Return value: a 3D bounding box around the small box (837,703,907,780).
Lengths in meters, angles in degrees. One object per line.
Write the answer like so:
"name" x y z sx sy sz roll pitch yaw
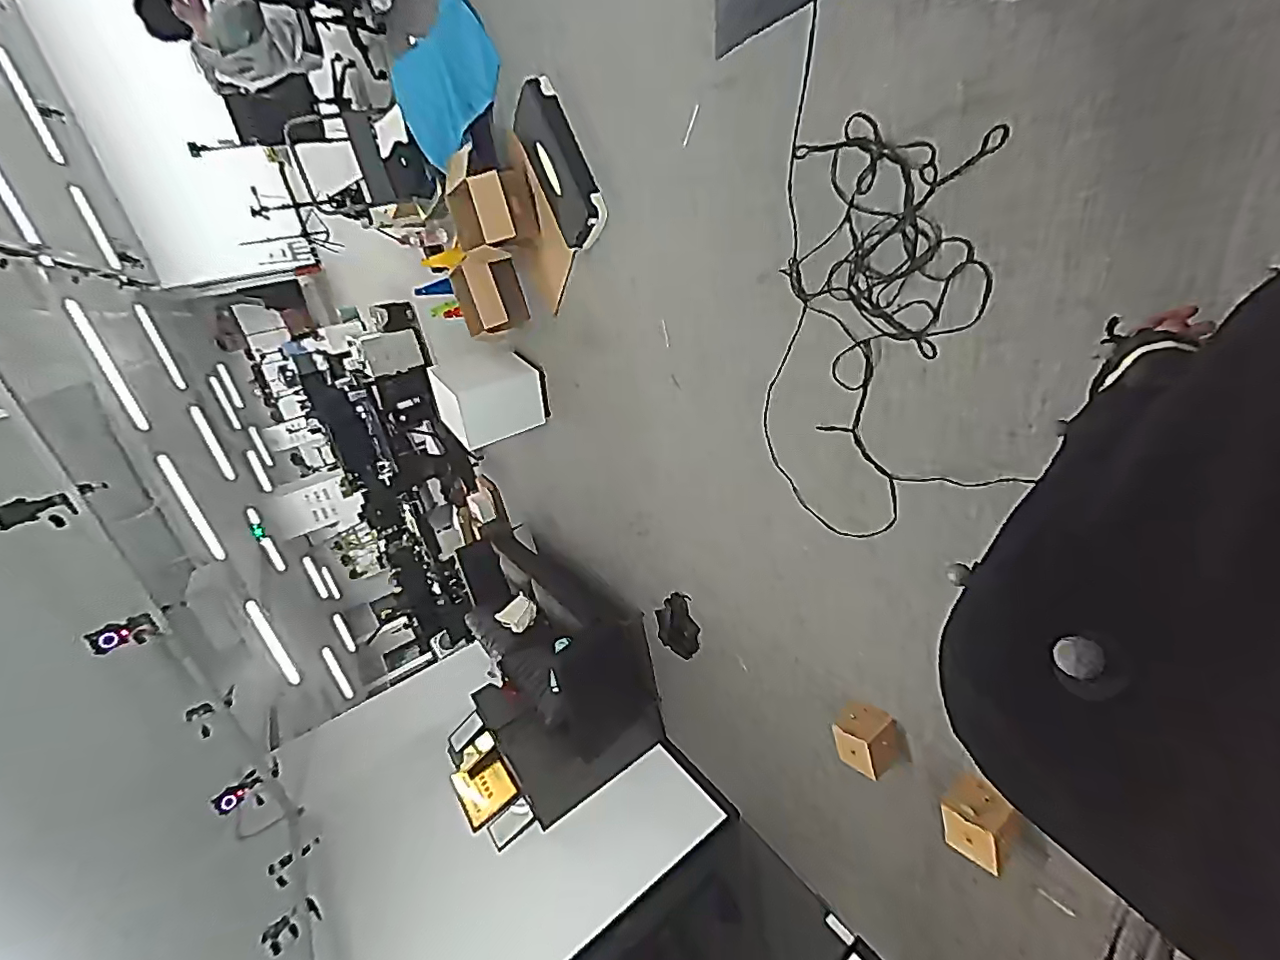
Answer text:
"small box" 0.897 1.001 2.088 0.168 0.176 0.179 6 118 61

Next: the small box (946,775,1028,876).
"small box" 1.132 1.115 1.759 0.168 0.176 0.179 10 120 58
